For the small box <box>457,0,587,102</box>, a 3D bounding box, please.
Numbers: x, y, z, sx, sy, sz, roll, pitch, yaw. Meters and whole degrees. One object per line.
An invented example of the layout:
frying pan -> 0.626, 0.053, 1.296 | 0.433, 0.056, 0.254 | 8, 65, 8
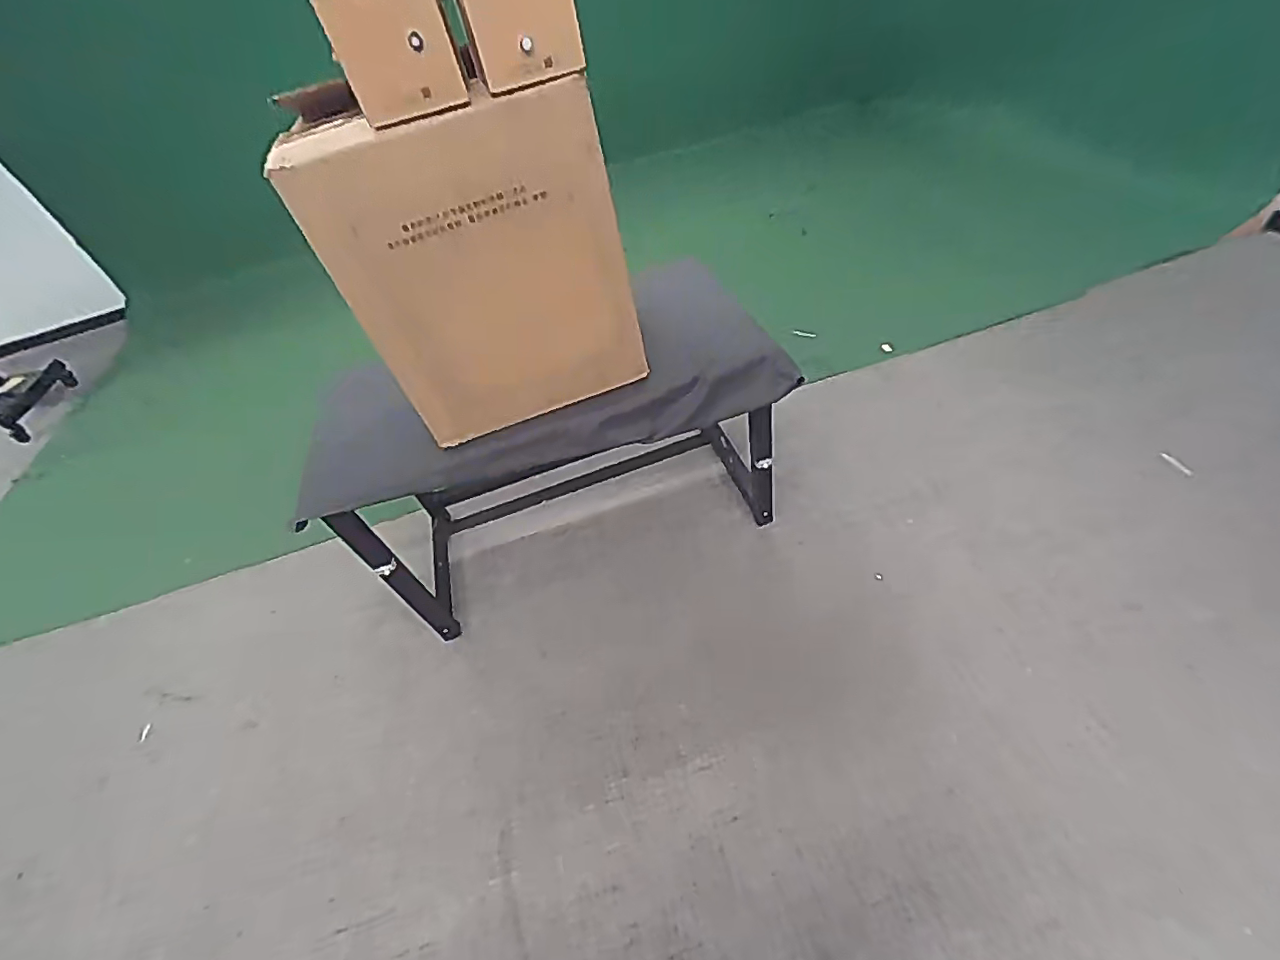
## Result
small box -> -0.199, -0.745, 0.885 | 0.168, 0.176, 0.179 | -20, 48, -6
